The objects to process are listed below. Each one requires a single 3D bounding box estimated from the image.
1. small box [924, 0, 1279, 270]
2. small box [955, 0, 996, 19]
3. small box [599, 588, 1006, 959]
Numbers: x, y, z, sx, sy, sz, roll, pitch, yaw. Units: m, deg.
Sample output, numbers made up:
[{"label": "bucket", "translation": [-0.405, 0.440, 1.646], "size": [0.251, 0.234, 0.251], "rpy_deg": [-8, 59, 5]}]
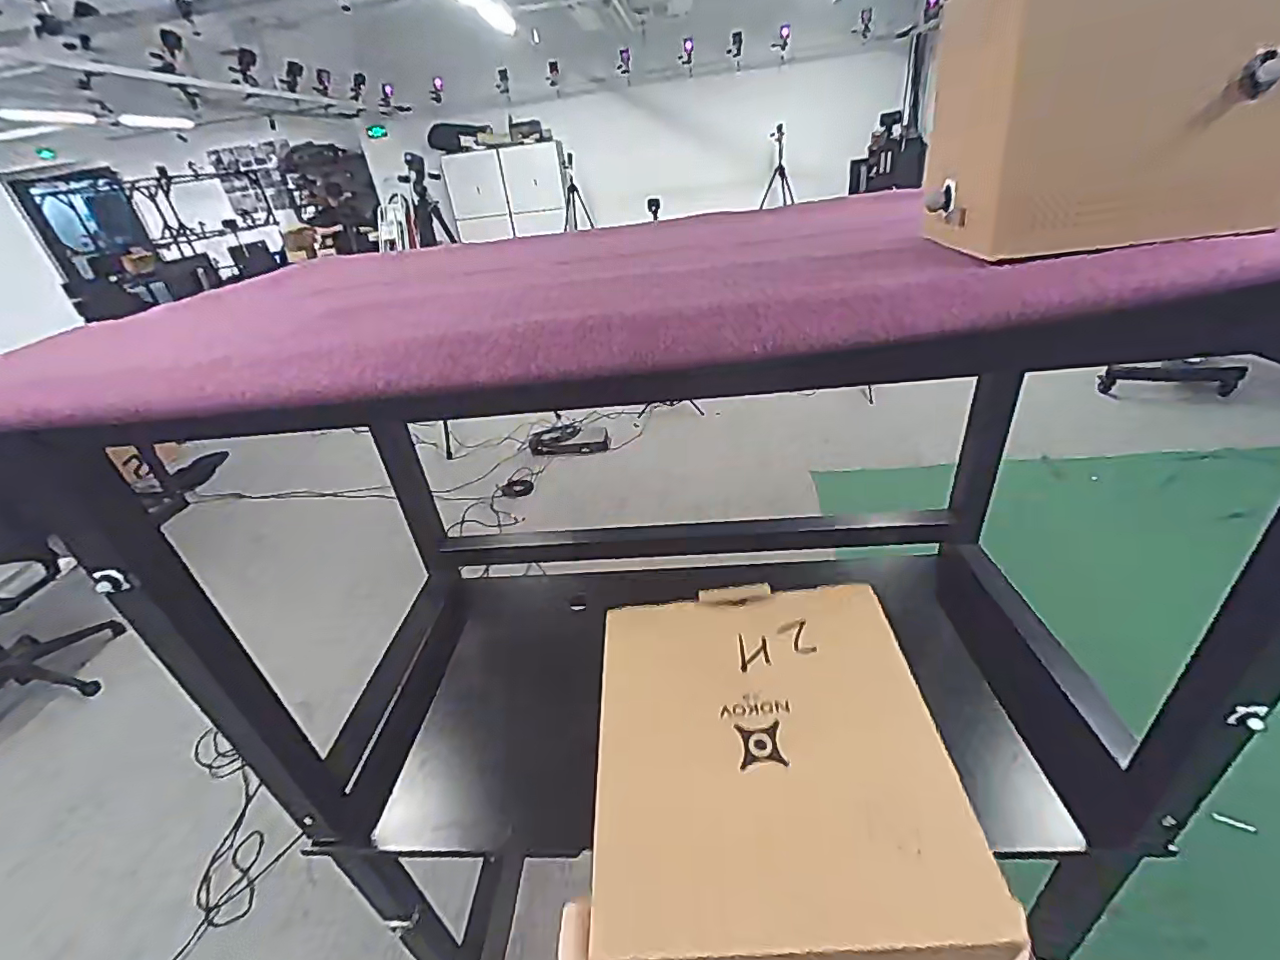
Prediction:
[{"label": "small box", "translation": [0.335, -0.265, 0.404], "size": [0.179, 0.176, 0.168], "rpy_deg": [-3, 28, 11]}, {"label": "small box", "translation": [0.313, -0.410, 0.333], "size": [0.179, 0.176, 0.168], "rpy_deg": [0, 29, 14]}, {"label": "small box", "translation": [0.077, 0.193, 0.329], "size": [0.168, 0.176, 0.179], "rpy_deg": [-7, 37, 5]}]
